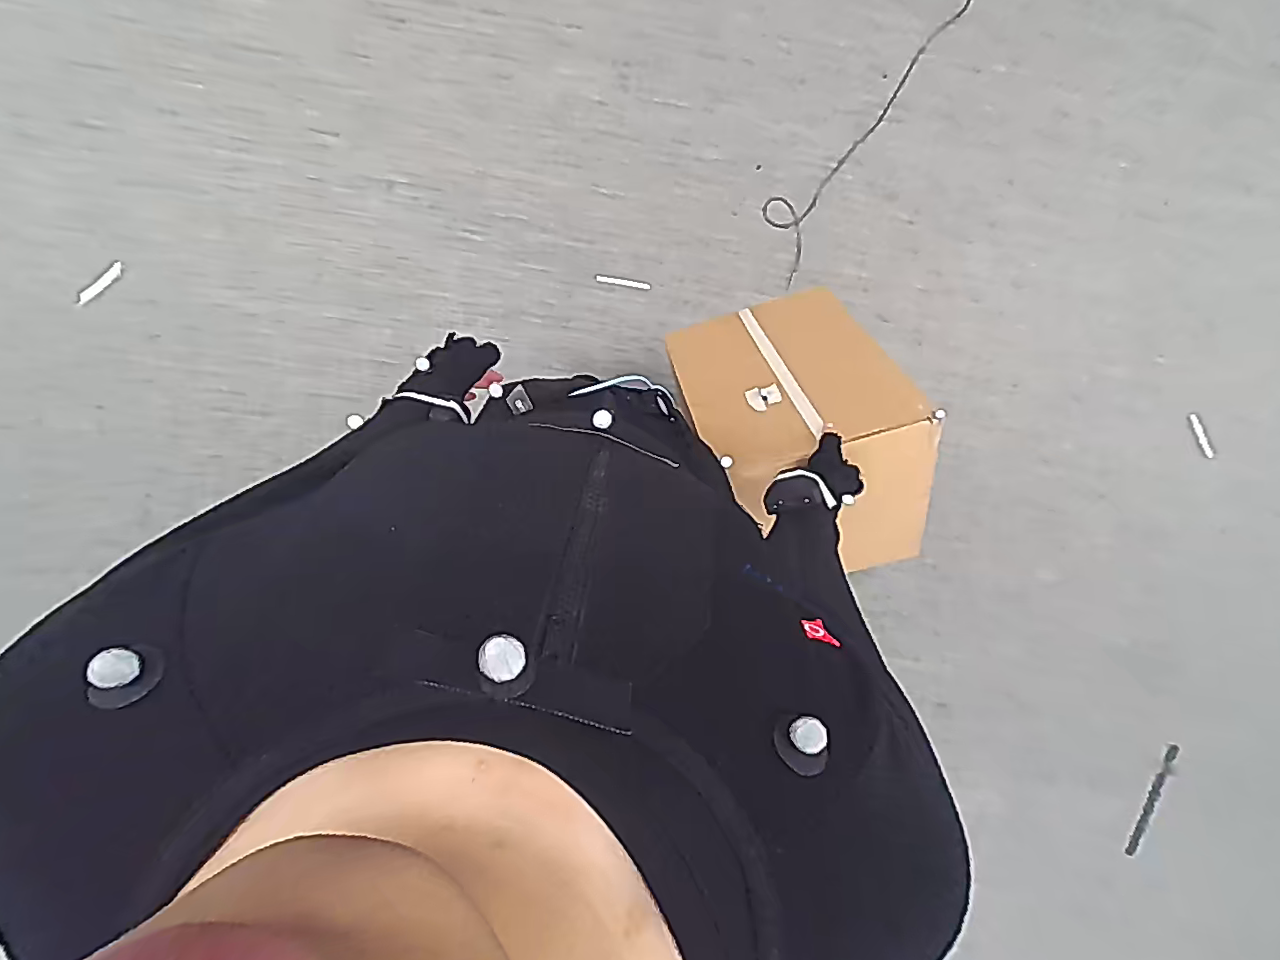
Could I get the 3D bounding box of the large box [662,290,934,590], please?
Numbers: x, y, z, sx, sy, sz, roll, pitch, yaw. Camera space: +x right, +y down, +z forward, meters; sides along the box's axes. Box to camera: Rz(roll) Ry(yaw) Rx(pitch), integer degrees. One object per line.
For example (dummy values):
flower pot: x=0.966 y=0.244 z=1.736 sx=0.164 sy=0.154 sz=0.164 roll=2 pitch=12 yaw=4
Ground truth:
large box: x=0.254 y=-0.078 z=0.979 sx=0.320 sy=0.408 sz=0.320 roll=-17 pitch=135 yaw=4
